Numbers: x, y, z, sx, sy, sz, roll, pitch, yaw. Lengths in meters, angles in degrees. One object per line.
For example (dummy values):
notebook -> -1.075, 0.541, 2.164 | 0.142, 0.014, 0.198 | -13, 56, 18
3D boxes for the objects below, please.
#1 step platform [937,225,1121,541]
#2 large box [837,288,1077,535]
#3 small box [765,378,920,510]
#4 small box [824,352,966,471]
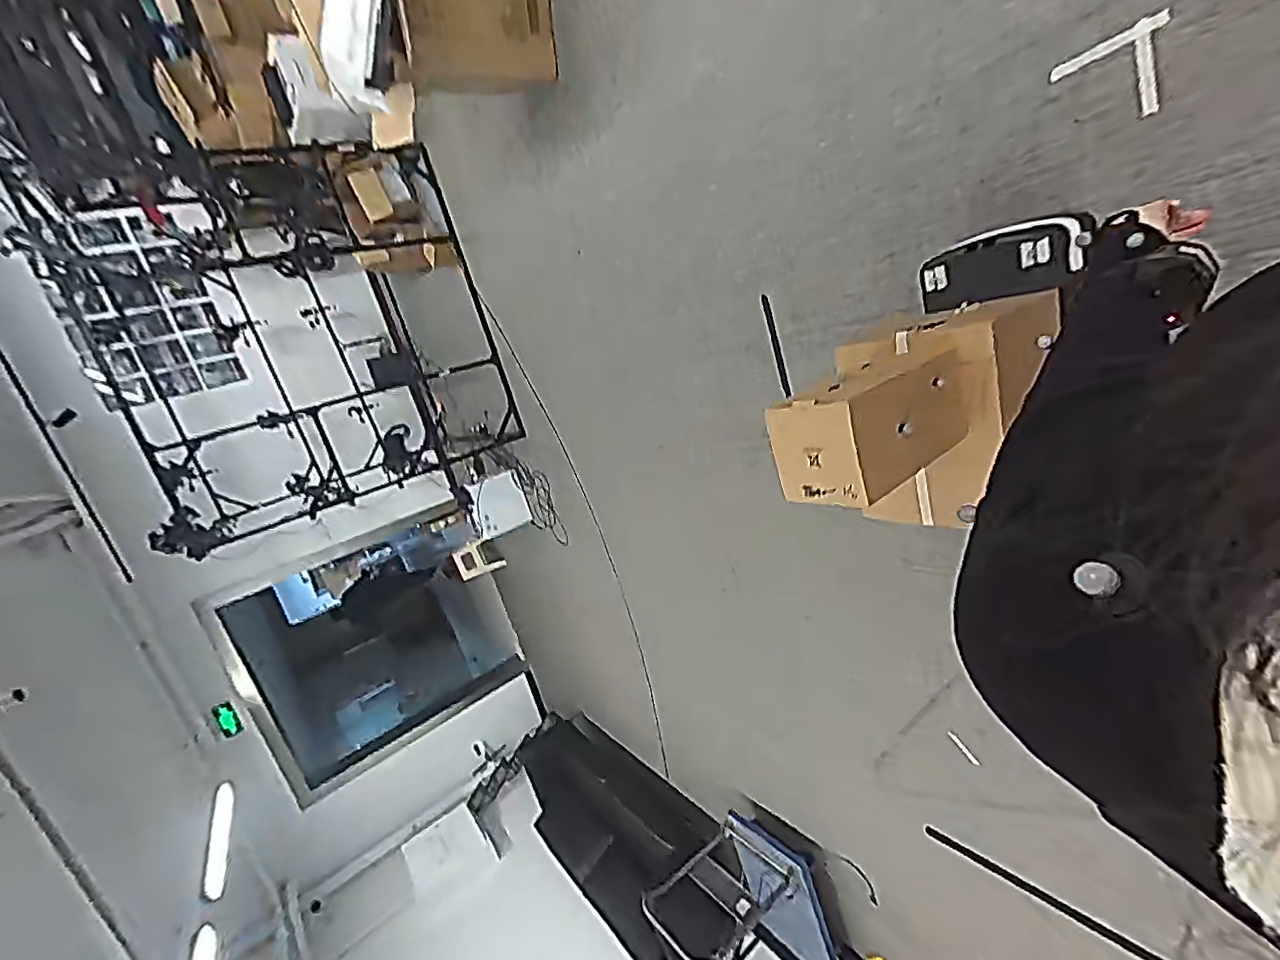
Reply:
step platform -> 0.882, -0.201, 1.251 | 0.286, 0.204, 0.684 | 13, 123, 53
large box -> 0.674, -0.143, 1.144 | 0.320, 0.320, 0.408 | 6, 117, 56
small box -> 0.341, -0.066, 0.907 | 0.168, 0.176, 0.179 | 5, 114, 56
small box -> 0.469, -0.128, 0.989 | 0.168, 0.176, 0.179 | 6, 117, 55
